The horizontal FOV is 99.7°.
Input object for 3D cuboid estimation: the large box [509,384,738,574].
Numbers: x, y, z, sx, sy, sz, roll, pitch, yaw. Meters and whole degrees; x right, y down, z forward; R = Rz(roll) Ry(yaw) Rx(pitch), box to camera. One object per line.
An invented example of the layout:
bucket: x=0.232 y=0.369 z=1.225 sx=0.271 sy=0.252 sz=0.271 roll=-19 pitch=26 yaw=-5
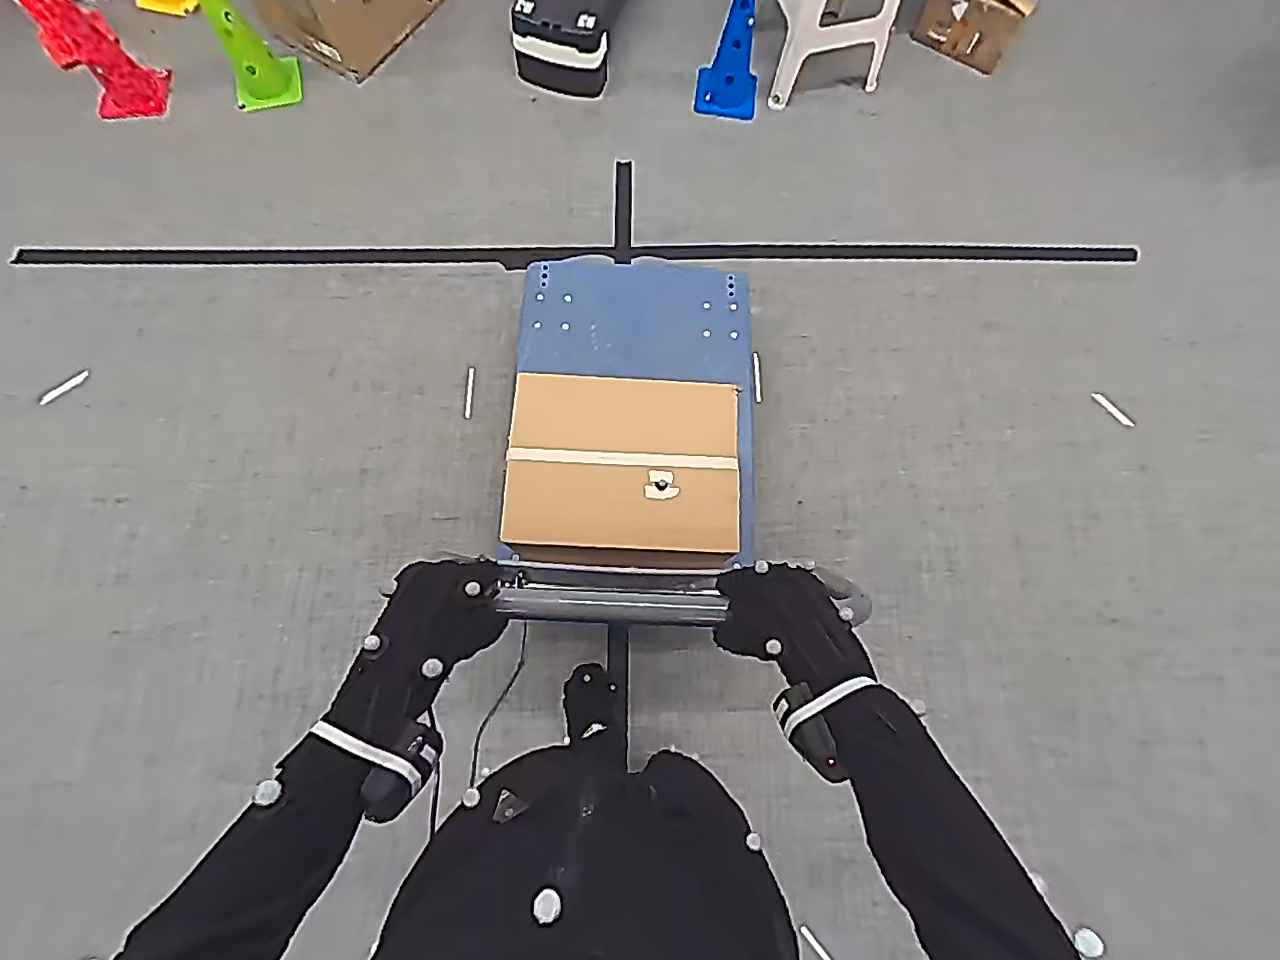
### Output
large box: x=-0.033 y=0.017 z=1.111 sx=0.408 sy=0.320 sz=0.320 roll=3 pitch=74 yaw=-3
